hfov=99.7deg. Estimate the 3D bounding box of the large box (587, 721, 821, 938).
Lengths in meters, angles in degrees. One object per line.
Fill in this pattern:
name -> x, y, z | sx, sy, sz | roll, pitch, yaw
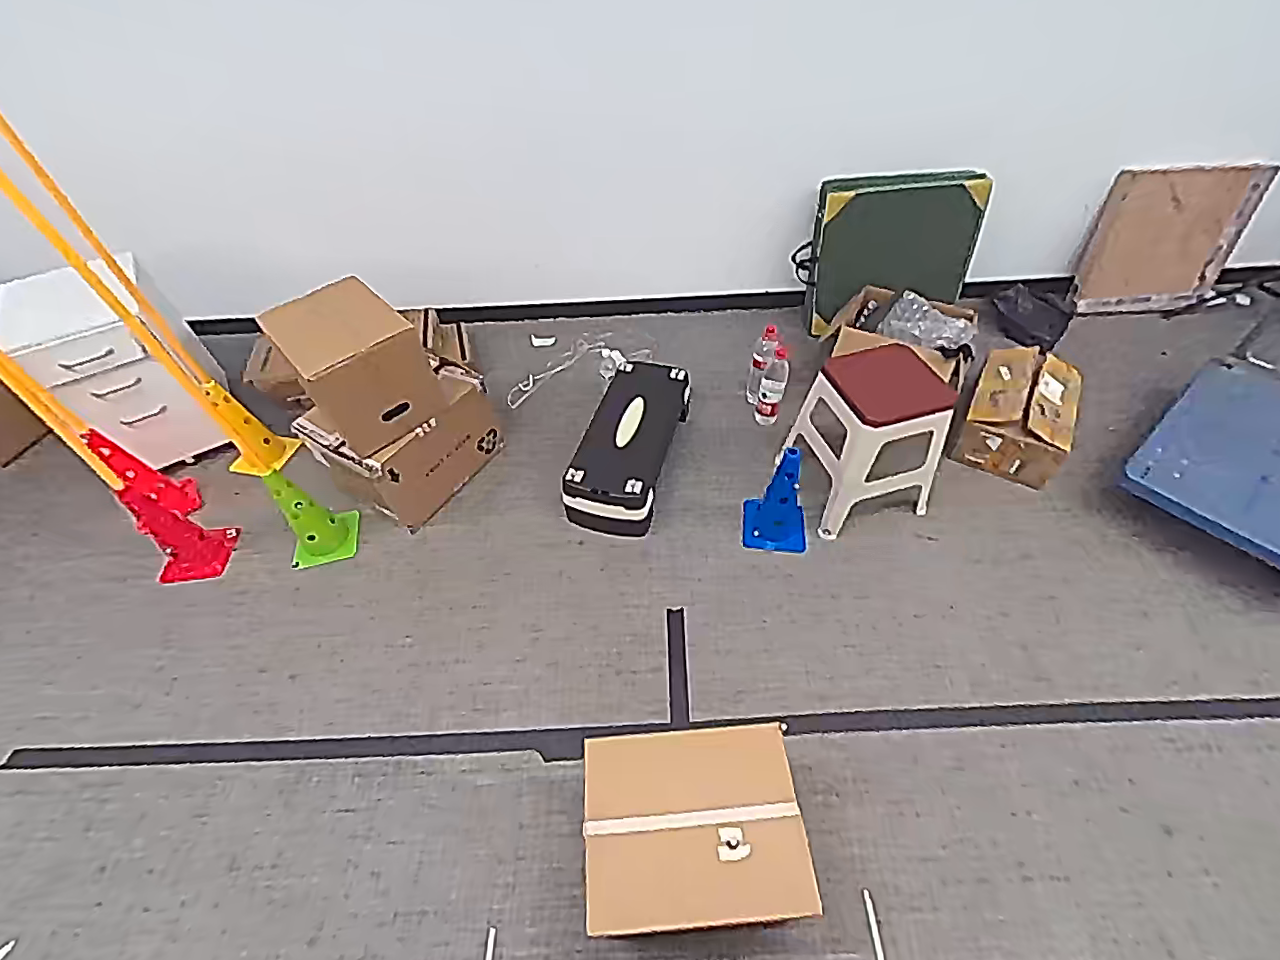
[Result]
large box -> 0.103, 0.730, 1.125 | 0.408, 0.320, 0.320 | -4, 50, -2
